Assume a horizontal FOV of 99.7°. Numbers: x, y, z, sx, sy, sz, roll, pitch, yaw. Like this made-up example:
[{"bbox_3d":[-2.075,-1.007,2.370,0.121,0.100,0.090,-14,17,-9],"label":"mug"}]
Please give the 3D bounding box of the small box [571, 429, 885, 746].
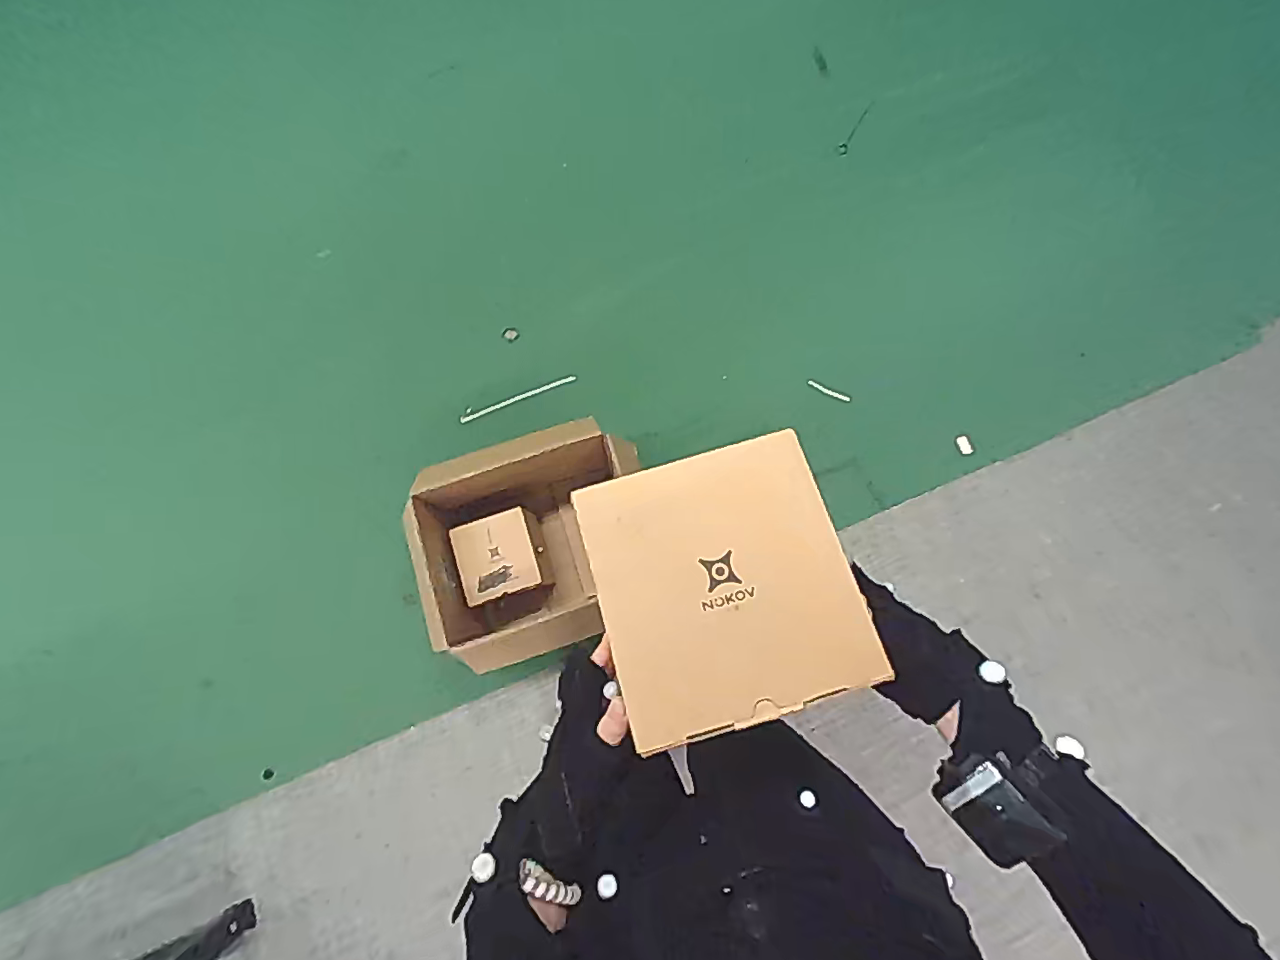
[{"bbox_3d":[0.054,0.087,0.432,0.168,0.176,0.179,-17,72,-3],"label":"small box"}]
